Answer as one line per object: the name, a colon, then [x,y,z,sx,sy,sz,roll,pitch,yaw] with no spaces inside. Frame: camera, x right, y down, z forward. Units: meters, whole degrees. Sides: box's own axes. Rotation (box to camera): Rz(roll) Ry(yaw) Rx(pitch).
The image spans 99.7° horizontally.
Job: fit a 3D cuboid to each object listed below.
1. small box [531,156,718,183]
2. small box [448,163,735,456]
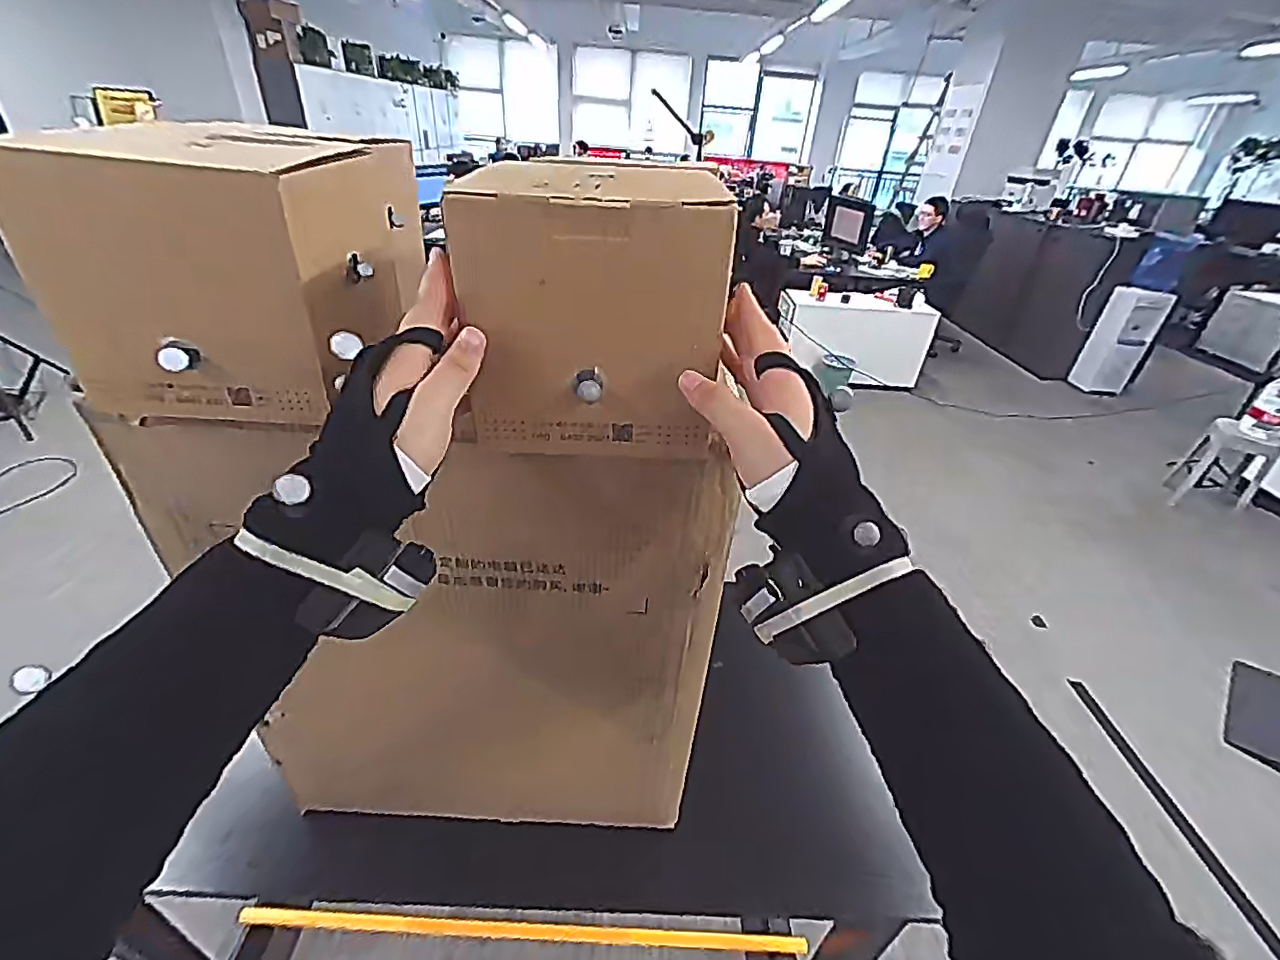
small box: [-0.012,-0.240,0.575,0.168,0.176,0.179,4,32,2]
small box: [-0.030,-0.136,0.415,0.168,0.176,0.179,2,35,-1]
